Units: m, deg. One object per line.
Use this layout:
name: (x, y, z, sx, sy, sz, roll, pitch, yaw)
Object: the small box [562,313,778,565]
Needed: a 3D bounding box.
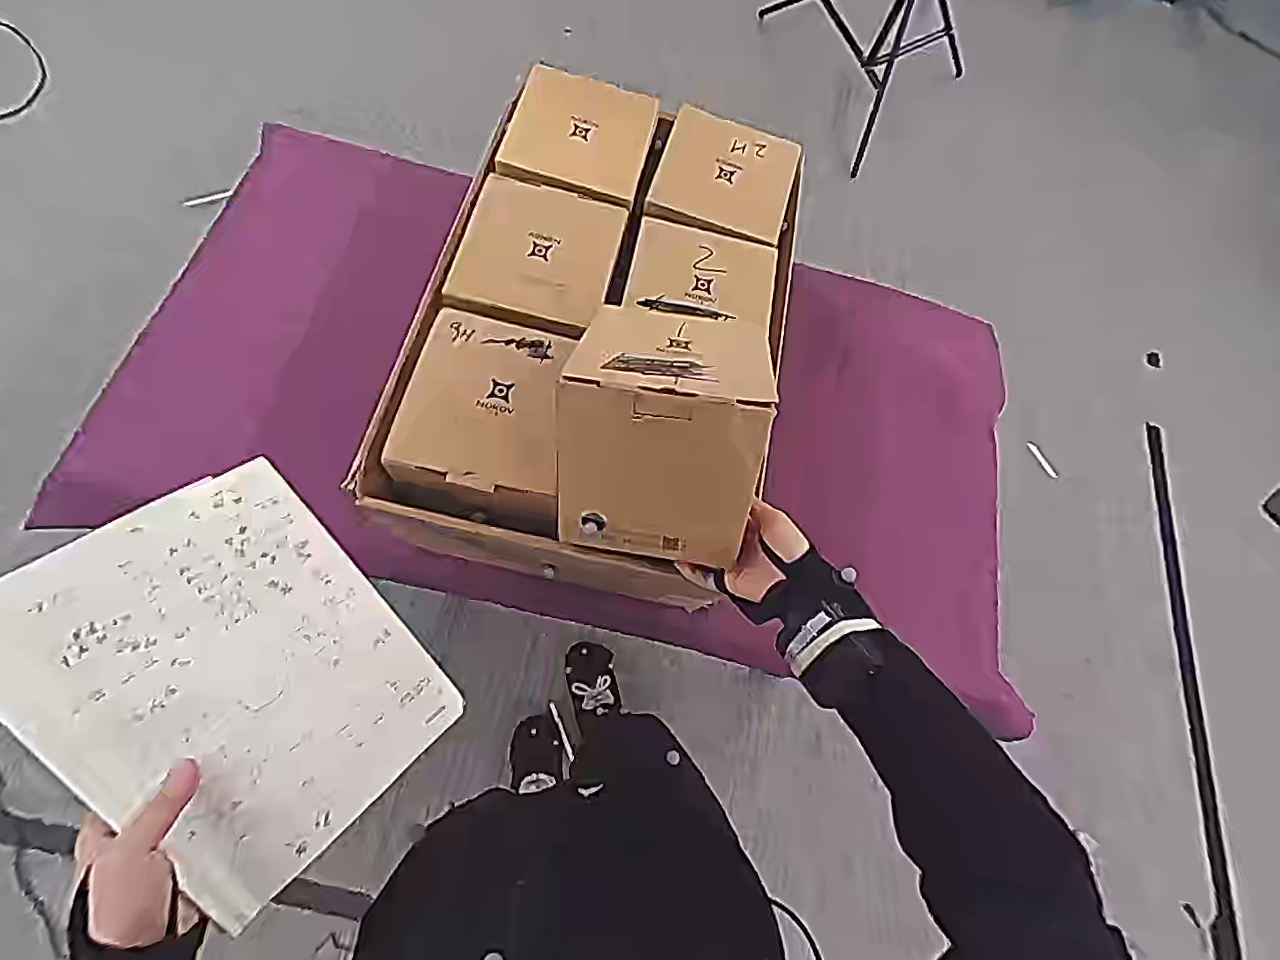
small box: (0.028, -0.042, 0.513, 0.168, 0.176, 0.179, 8, 34, 3)
